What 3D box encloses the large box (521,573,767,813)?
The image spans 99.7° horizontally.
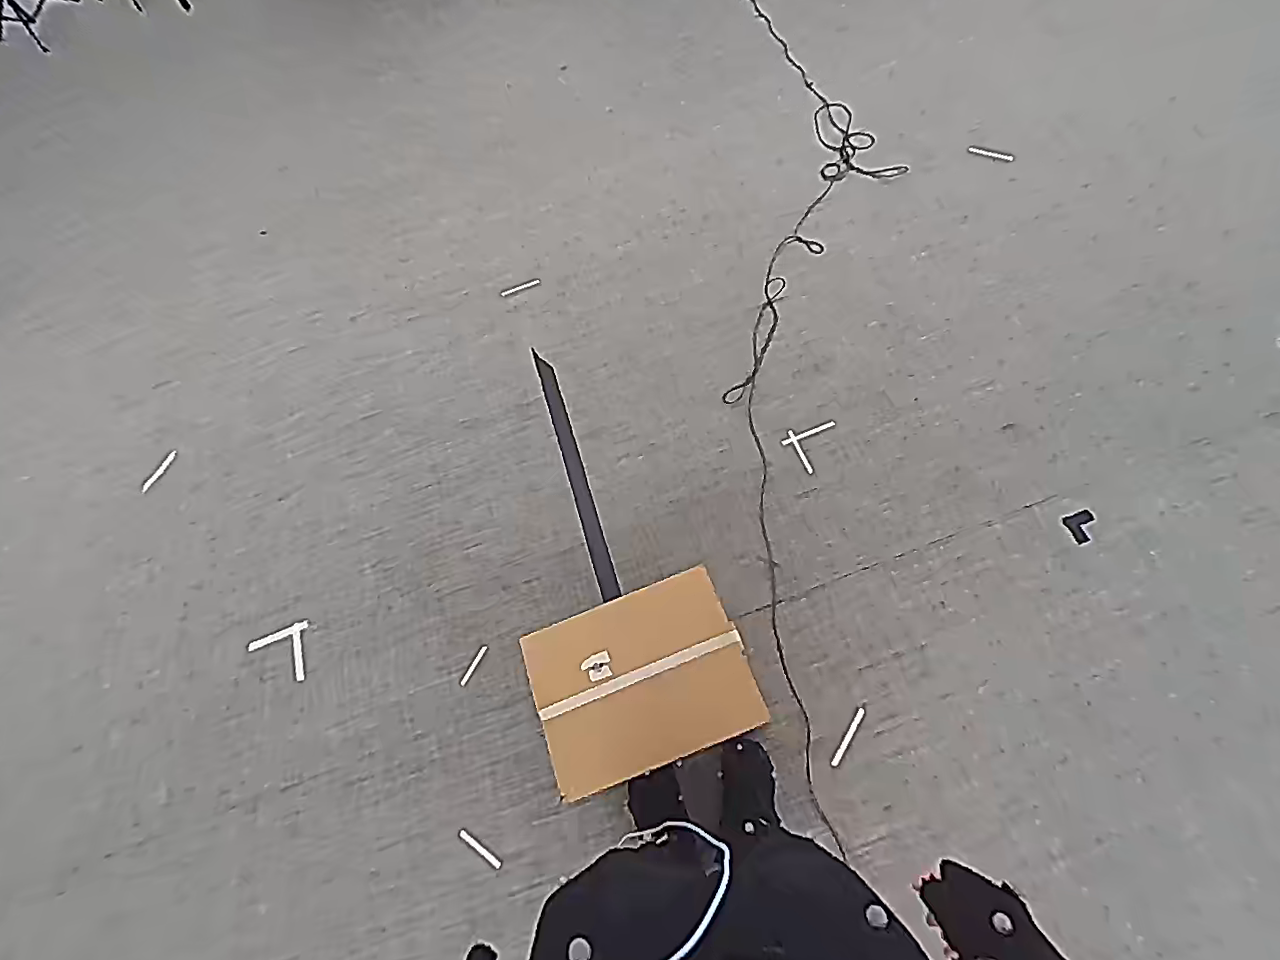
[{"bbox_3d":[0.019,0.446,1.157,0.408,0.320,0.320,-23,63,0],"label":"large box"}]
